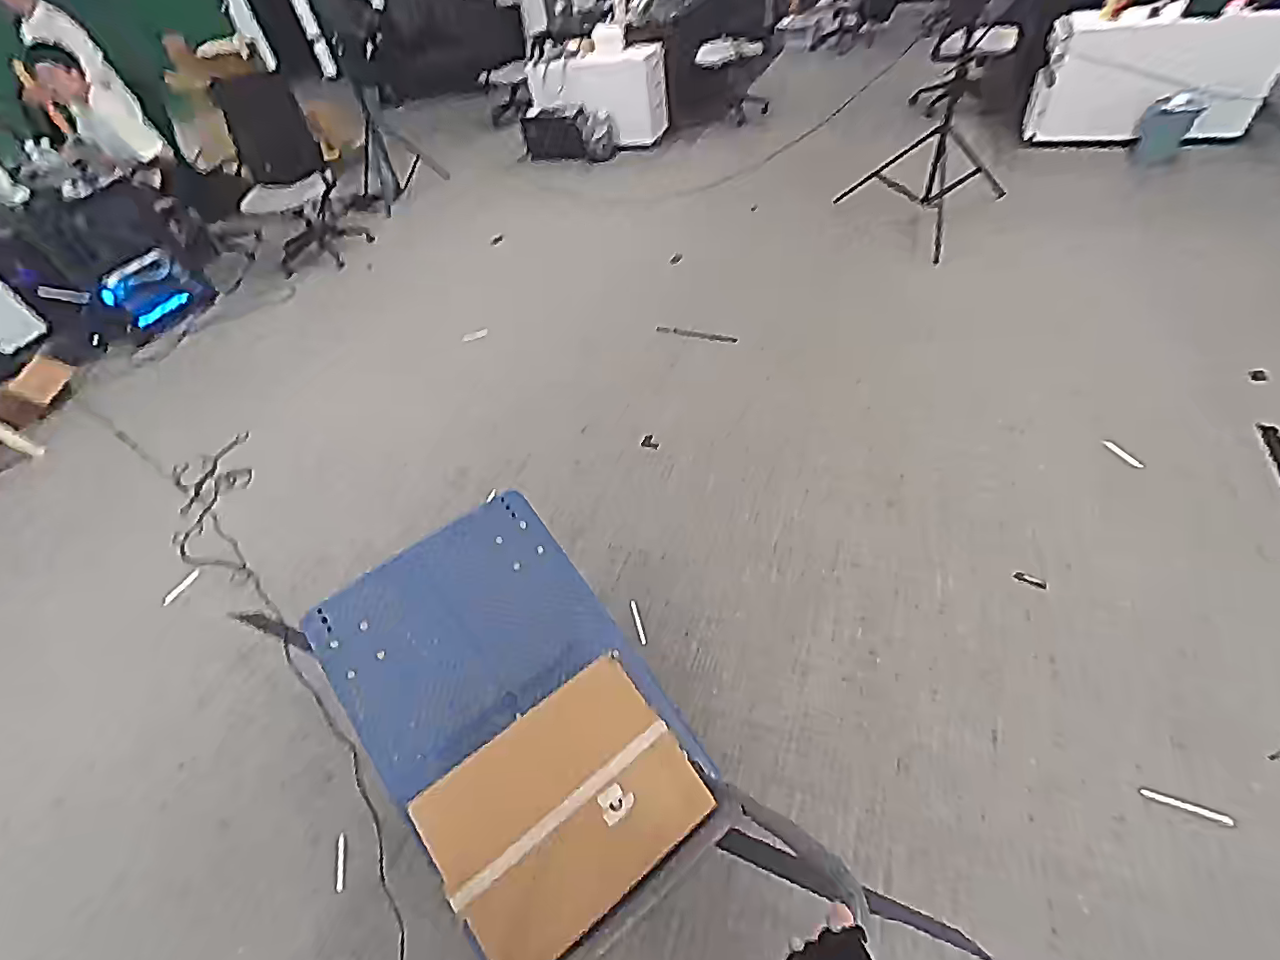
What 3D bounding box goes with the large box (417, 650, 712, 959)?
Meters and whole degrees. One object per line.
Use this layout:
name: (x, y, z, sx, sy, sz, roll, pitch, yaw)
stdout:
large box: (-0.138, 0.595, 1.037, 0.408, 0.320, 0.320, -34, 76, -20)
